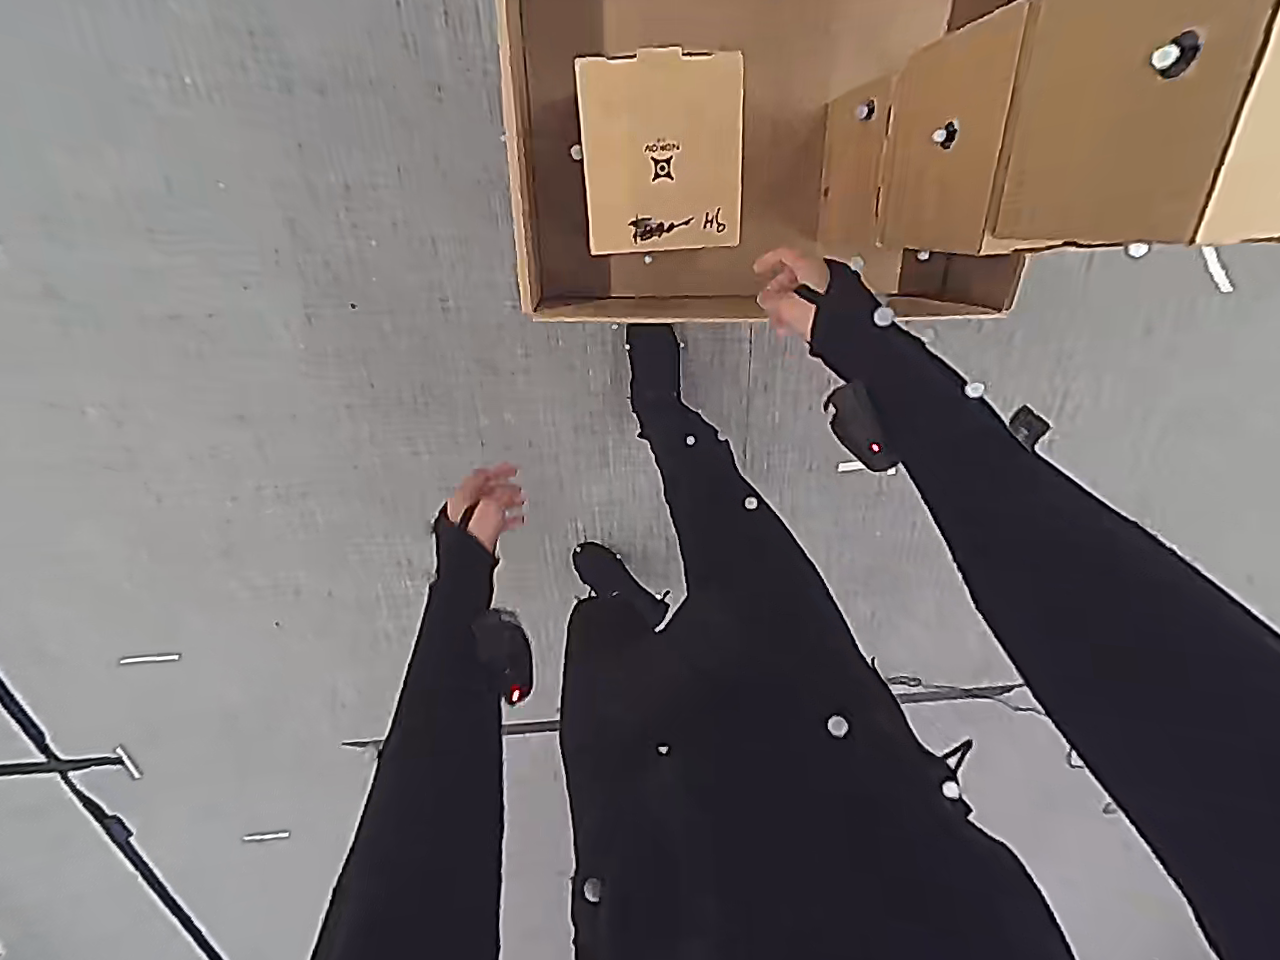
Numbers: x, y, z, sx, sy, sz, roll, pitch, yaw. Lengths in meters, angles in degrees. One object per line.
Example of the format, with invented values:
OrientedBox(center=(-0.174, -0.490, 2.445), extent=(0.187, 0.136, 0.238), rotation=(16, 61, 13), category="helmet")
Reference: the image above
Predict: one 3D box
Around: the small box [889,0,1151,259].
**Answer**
OrientedBox(center=(0.352, -0.306, 0.492), extent=(0.168, 0.176, 0.179), rotation=(-6, 116, -4), category="small box")

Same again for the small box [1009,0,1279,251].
OrientedBox(center=(0.377, -0.246, 0.340), extent=(0.168, 0.176, 0.179), rotation=(-6, 117, -4), category="small box")

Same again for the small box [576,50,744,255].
OrientedBox(center=(0.015, -0.357, 0.616), extent=(0.168, 0.176, 0.179), rotation=(-5, 116, -3), category="small box")
